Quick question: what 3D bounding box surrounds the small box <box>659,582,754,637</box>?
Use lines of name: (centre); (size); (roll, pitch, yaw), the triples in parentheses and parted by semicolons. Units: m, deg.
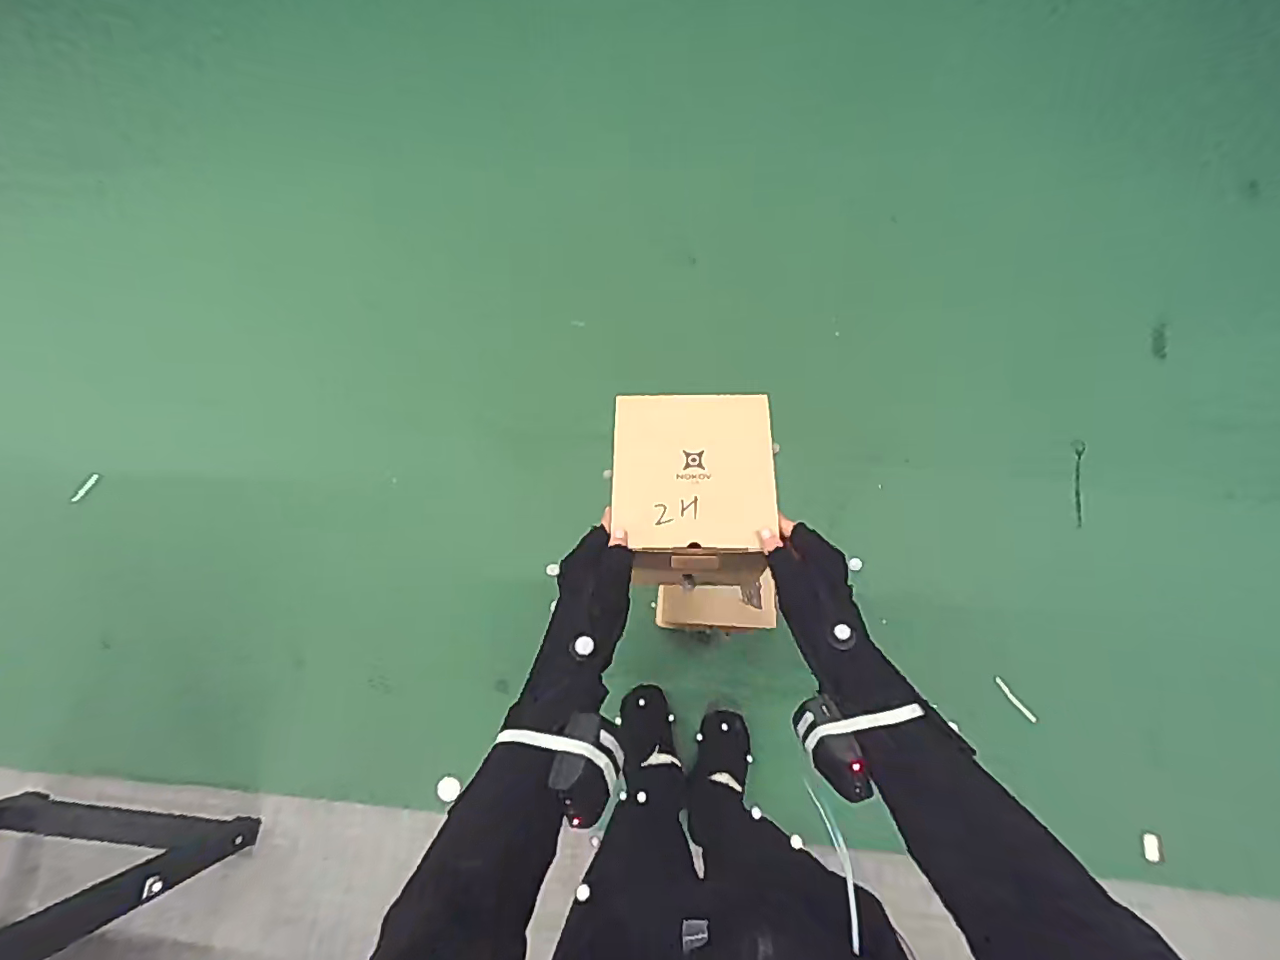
small box: (0.132, 0.223, 1.088); (0.179, 0.176, 0.168); (4, 75, 3)

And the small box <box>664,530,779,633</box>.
small box: (0.134, 0.171, 0.931); (0.179, 0.176, 0.168); (3, 75, 3)

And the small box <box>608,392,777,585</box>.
small box: (0.055, 0.016, 0.624); (0.168, 0.176, 0.179); (0, 68, 3)
